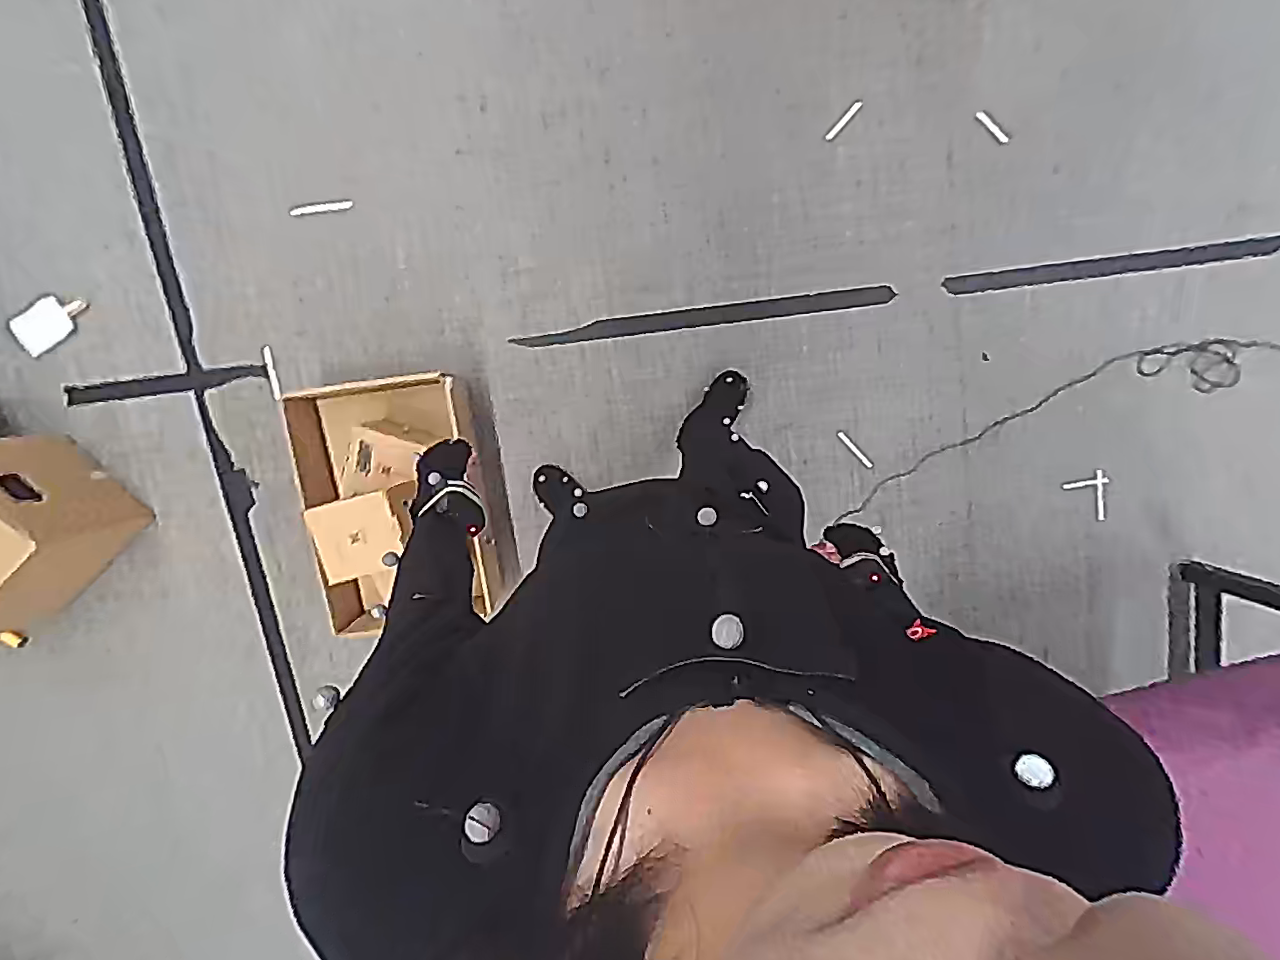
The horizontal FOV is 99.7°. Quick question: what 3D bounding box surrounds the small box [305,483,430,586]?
[{"bbox_3d":[-0.588,0.112,1.199,0.179,0.176,0.168,-16,98,1],"label":"small box"}]
